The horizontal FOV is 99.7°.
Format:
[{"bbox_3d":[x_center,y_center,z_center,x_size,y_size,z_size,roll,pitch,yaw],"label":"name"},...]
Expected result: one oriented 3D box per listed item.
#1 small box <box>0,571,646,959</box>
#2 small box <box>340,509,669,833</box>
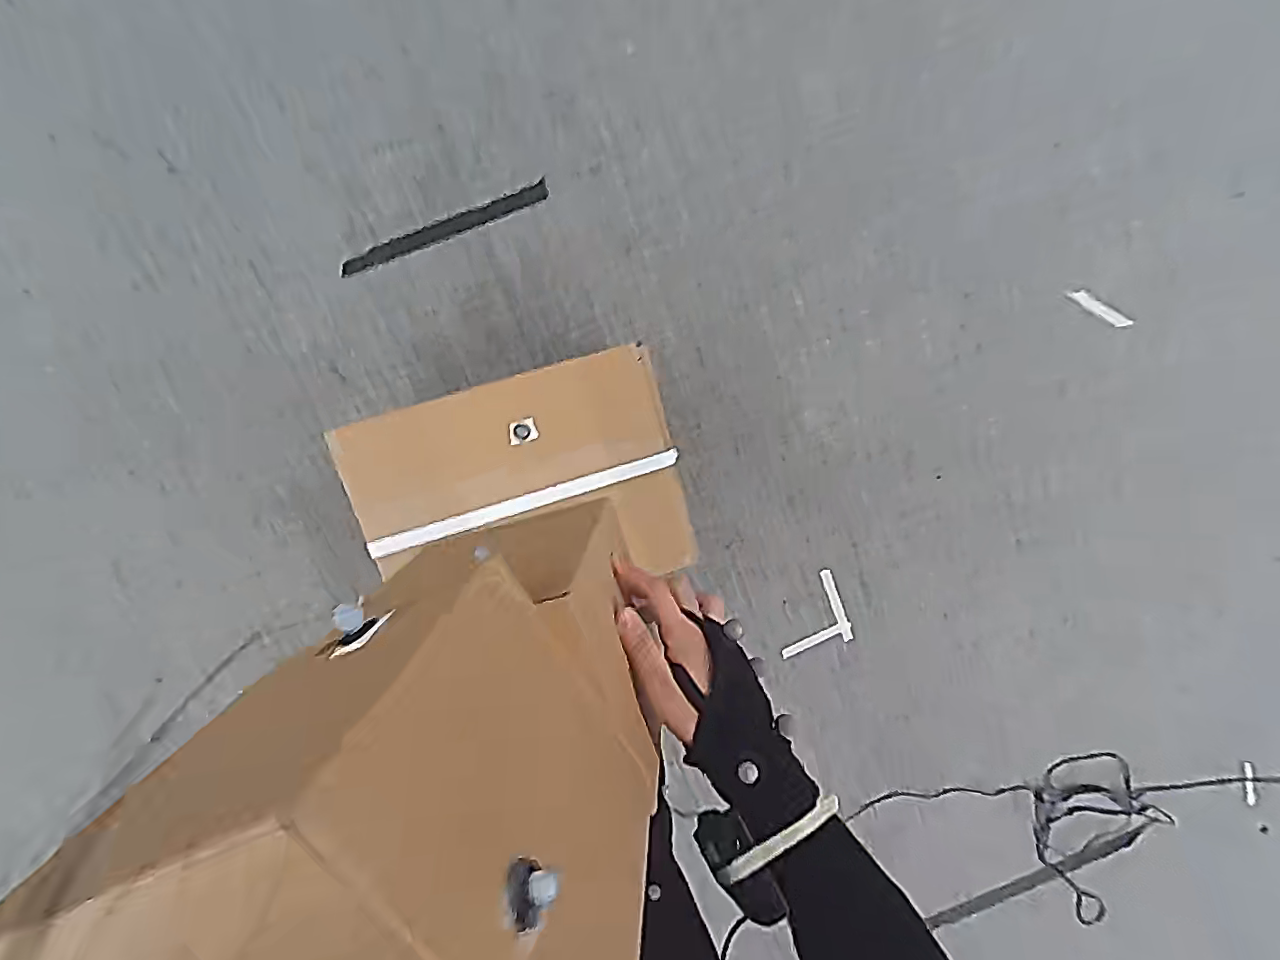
[{"bbox_3d":[-0.108,0.174,0.249,0.168,0.176,0.179,-29,102,12],"label":"small box"},{"bbox_3d":[-0.084,0.140,0.406,0.179,0.176,0.168,-16,105,9],"label":"small box"}]
